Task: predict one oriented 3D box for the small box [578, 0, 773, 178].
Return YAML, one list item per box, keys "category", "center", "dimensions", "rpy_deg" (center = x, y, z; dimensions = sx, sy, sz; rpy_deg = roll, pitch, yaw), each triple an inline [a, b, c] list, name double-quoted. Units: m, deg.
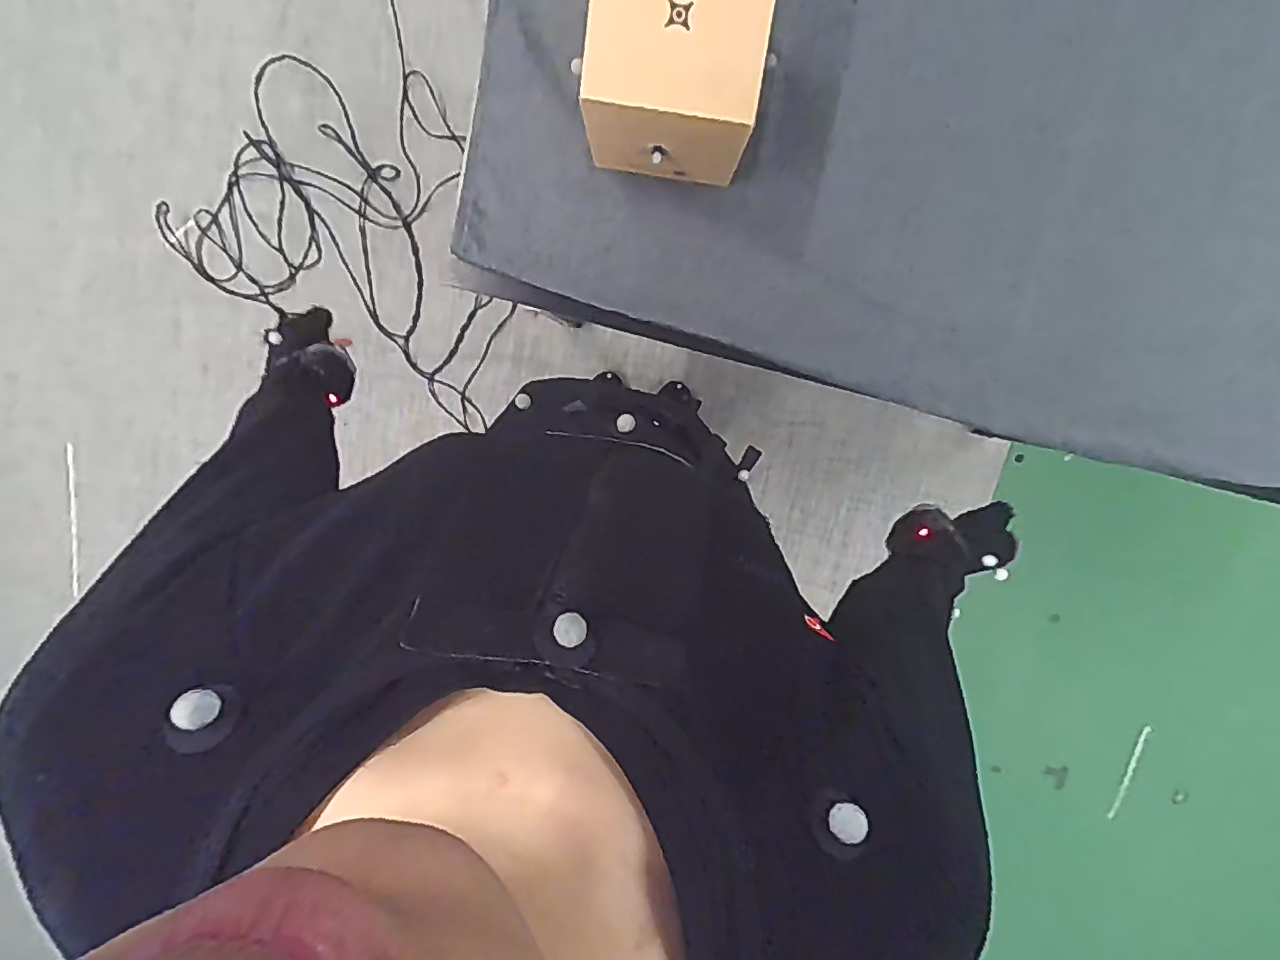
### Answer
- category: "small box"
  center: [0.037, -0.439, 0.559]
  dimensions: [0.168, 0.176, 0.179]
  rpy_deg: [8, 101, -1]
